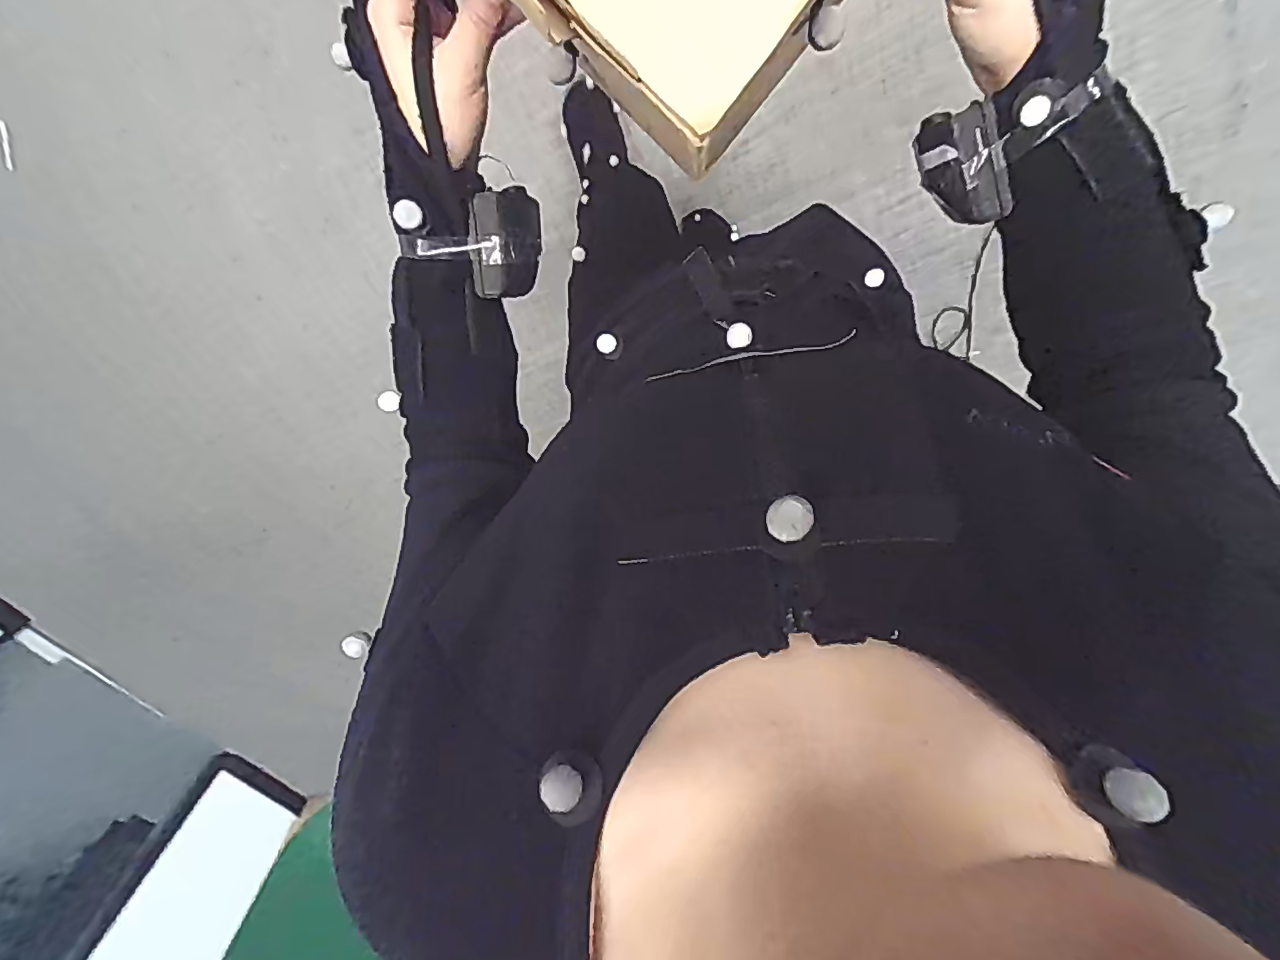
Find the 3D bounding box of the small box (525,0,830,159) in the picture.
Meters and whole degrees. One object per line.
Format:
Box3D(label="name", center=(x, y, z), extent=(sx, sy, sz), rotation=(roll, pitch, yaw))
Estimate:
Box3D(label="small box", center=(0.019, -0.267, 0.221), extent=(0.168, 0.176, 0.179), rotation=(39, 113, -12))
